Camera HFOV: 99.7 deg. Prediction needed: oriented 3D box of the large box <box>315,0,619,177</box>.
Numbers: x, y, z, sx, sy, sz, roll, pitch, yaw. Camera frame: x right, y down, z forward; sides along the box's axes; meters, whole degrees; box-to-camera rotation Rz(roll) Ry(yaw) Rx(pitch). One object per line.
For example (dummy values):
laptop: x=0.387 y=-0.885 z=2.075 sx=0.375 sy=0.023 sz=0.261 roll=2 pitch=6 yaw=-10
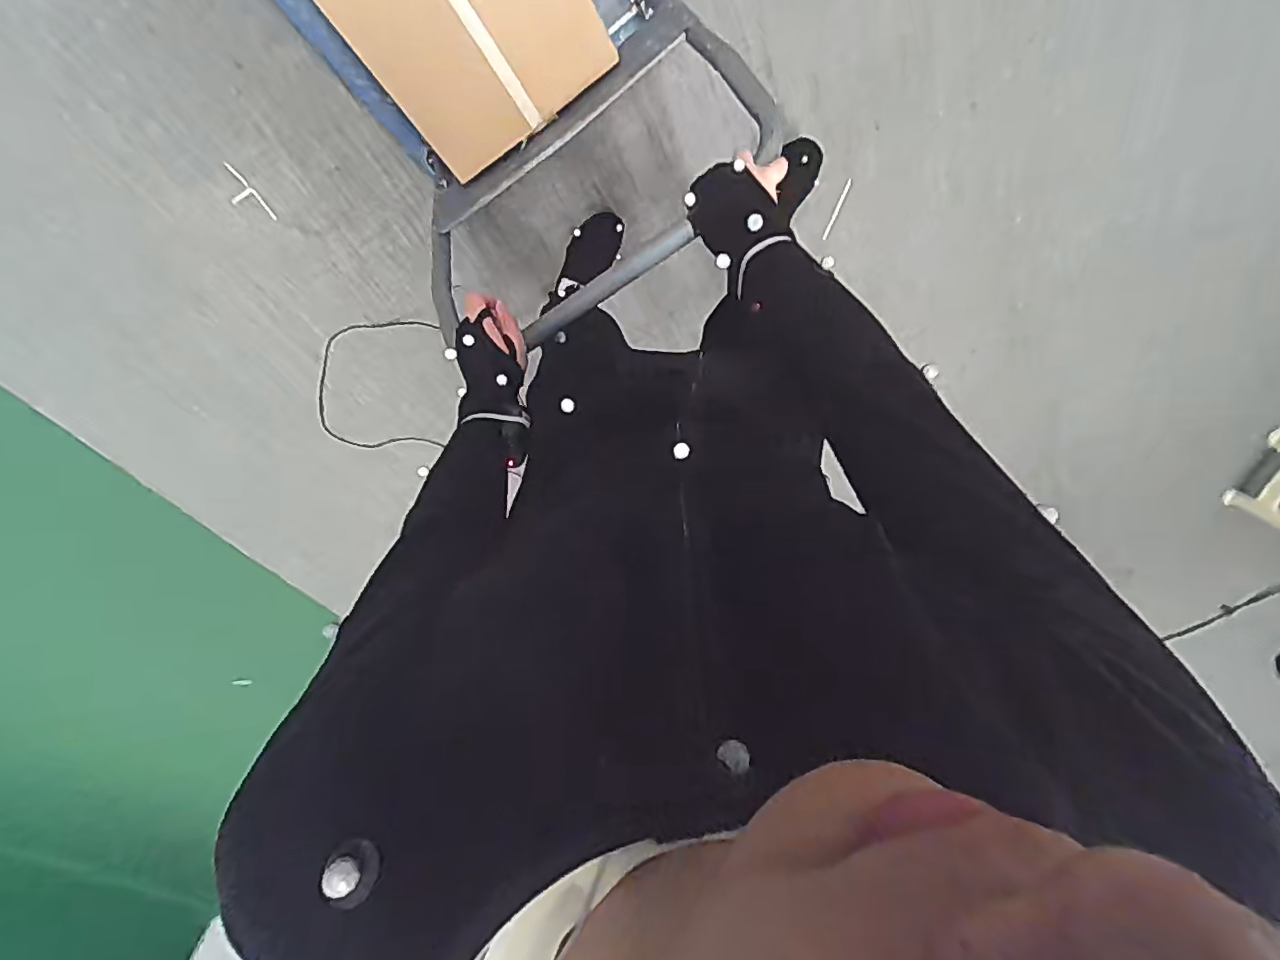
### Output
large box: x=-0.282 y=-0.769 z=0.805 sx=0.320 sy=0.320 sz=0.408 roll=-29 pitch=136 yaw=17
